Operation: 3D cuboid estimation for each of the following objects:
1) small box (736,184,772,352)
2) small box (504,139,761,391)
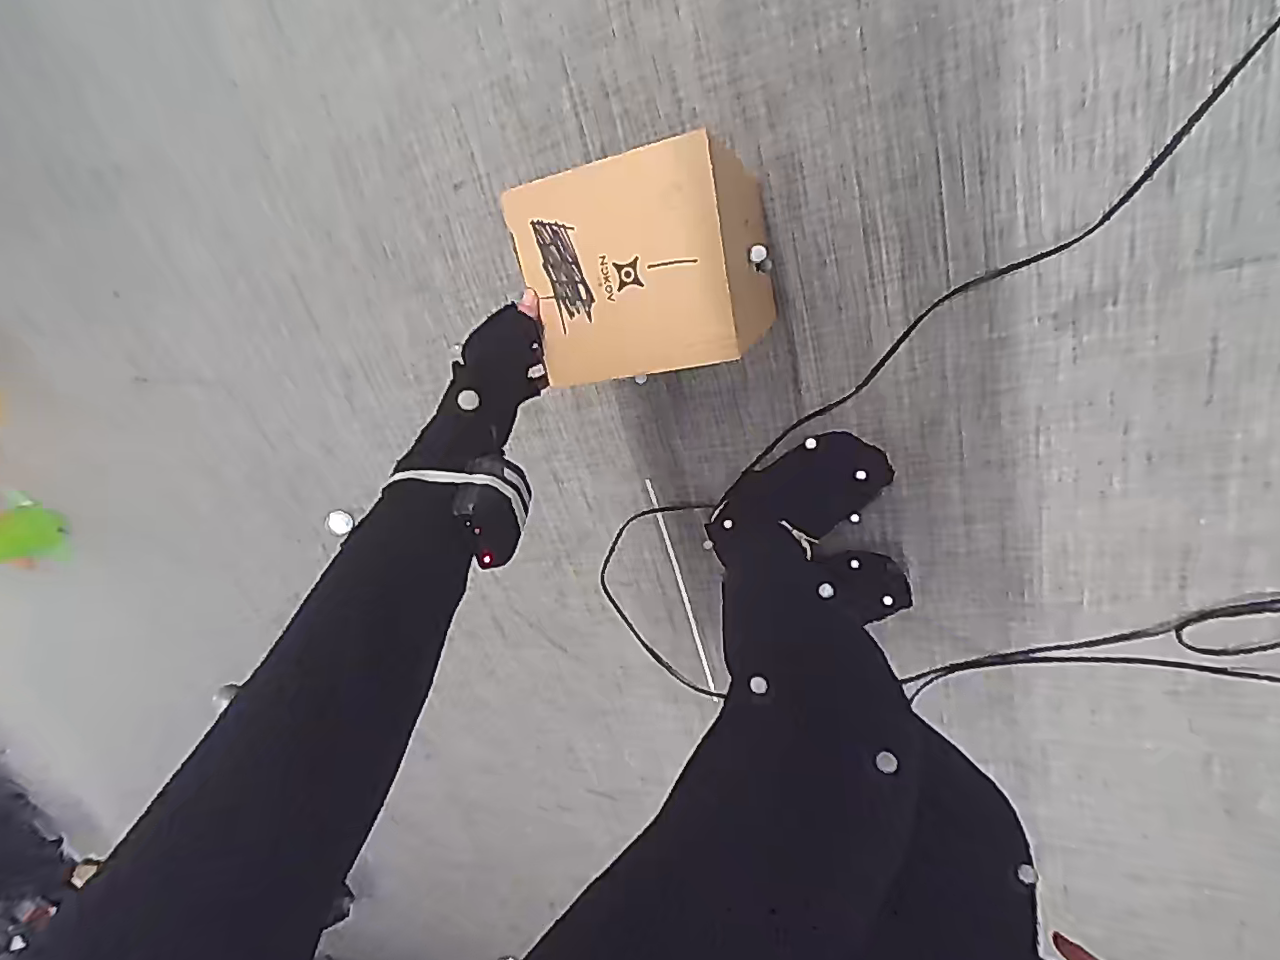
[{"bbox_3d":[0.060,-0.249,0.651,0.168,0.176,0.179,-5,112,21],"label":"small box"},{"bbox_3d":[0.008,-0.190,0.506,0.179,0.176,0.168,-4,111,21],"label":"small box"}]
